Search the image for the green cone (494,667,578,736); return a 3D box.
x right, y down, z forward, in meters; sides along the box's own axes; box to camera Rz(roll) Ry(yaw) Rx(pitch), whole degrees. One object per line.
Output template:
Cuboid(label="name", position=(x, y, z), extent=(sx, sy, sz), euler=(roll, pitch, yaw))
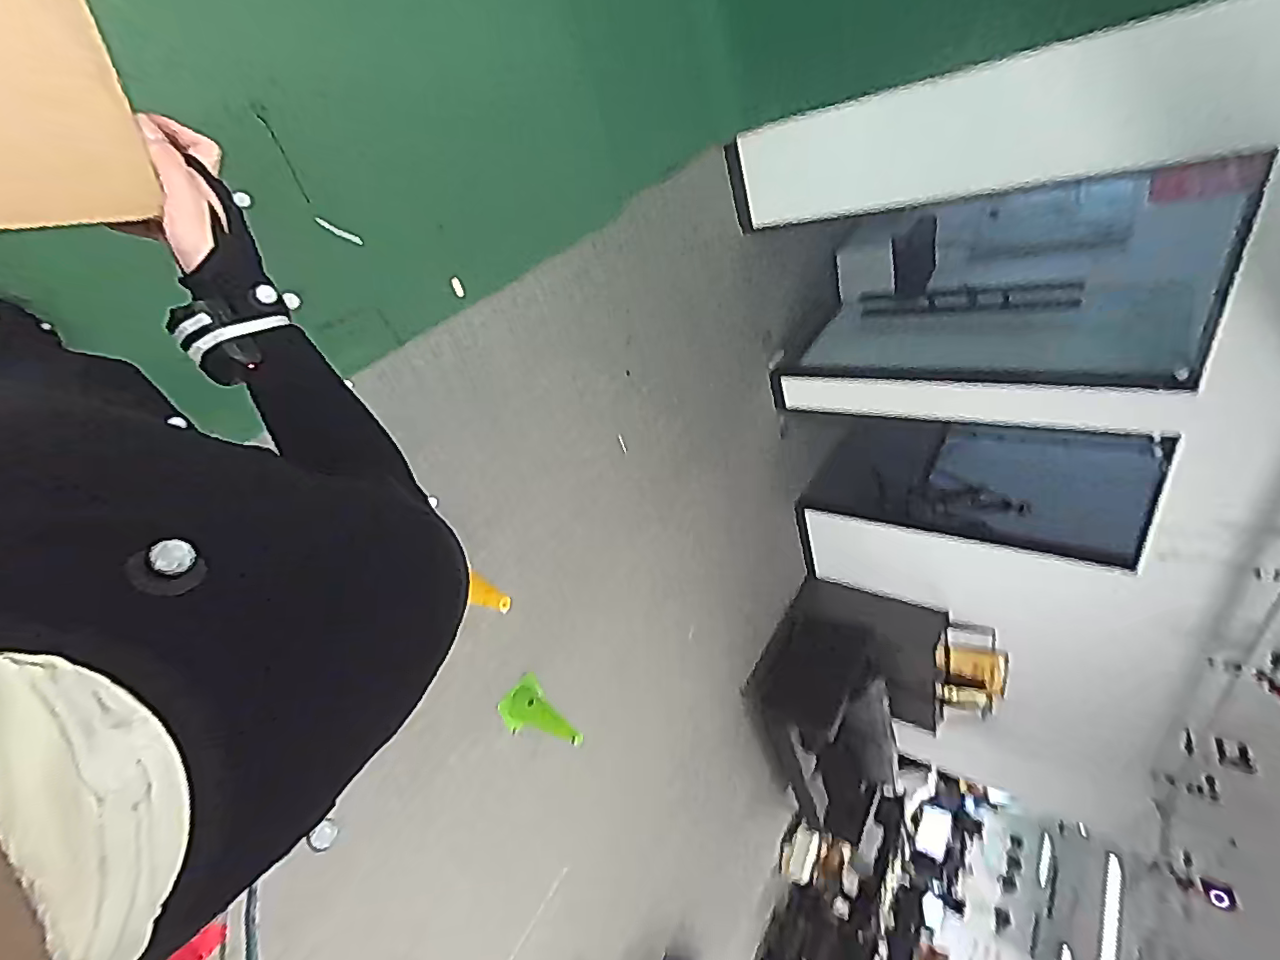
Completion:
Cuboid(label="green cone", position=(-0.386, 0.951, 2.207), extent=(0.200, 0.368, 0.202), euler=(-43, 129, -37))
